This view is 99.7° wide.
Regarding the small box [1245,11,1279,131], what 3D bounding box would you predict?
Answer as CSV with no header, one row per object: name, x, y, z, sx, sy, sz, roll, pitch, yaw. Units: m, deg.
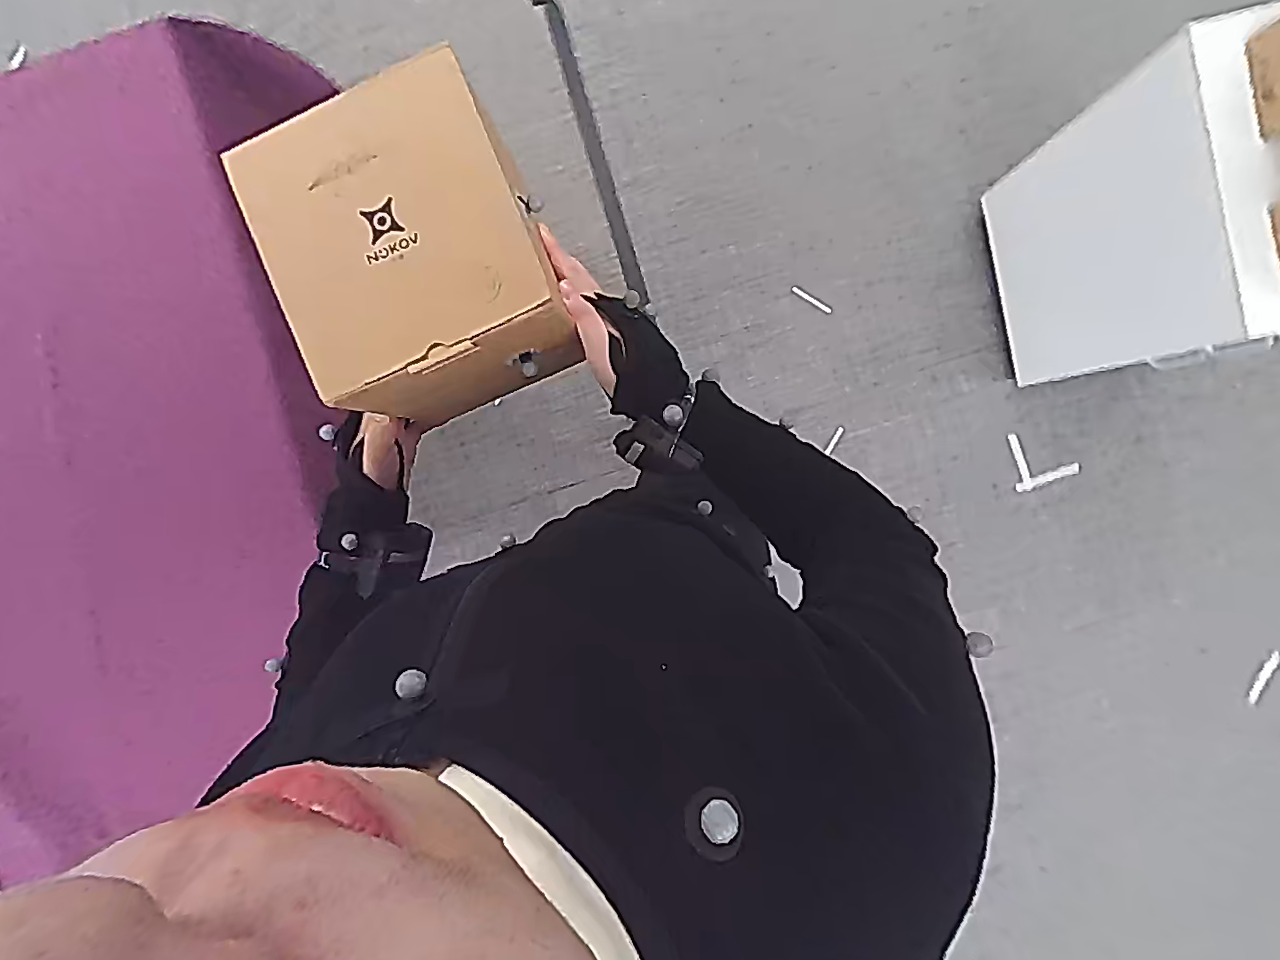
small box,1.044,-0.638,0.768,0.179,0.176,0.168,-11,91,1

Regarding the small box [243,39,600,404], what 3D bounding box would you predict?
small box,-0.142,-0.166,0.417,0.168,0.176,0.179,-21,90,5
